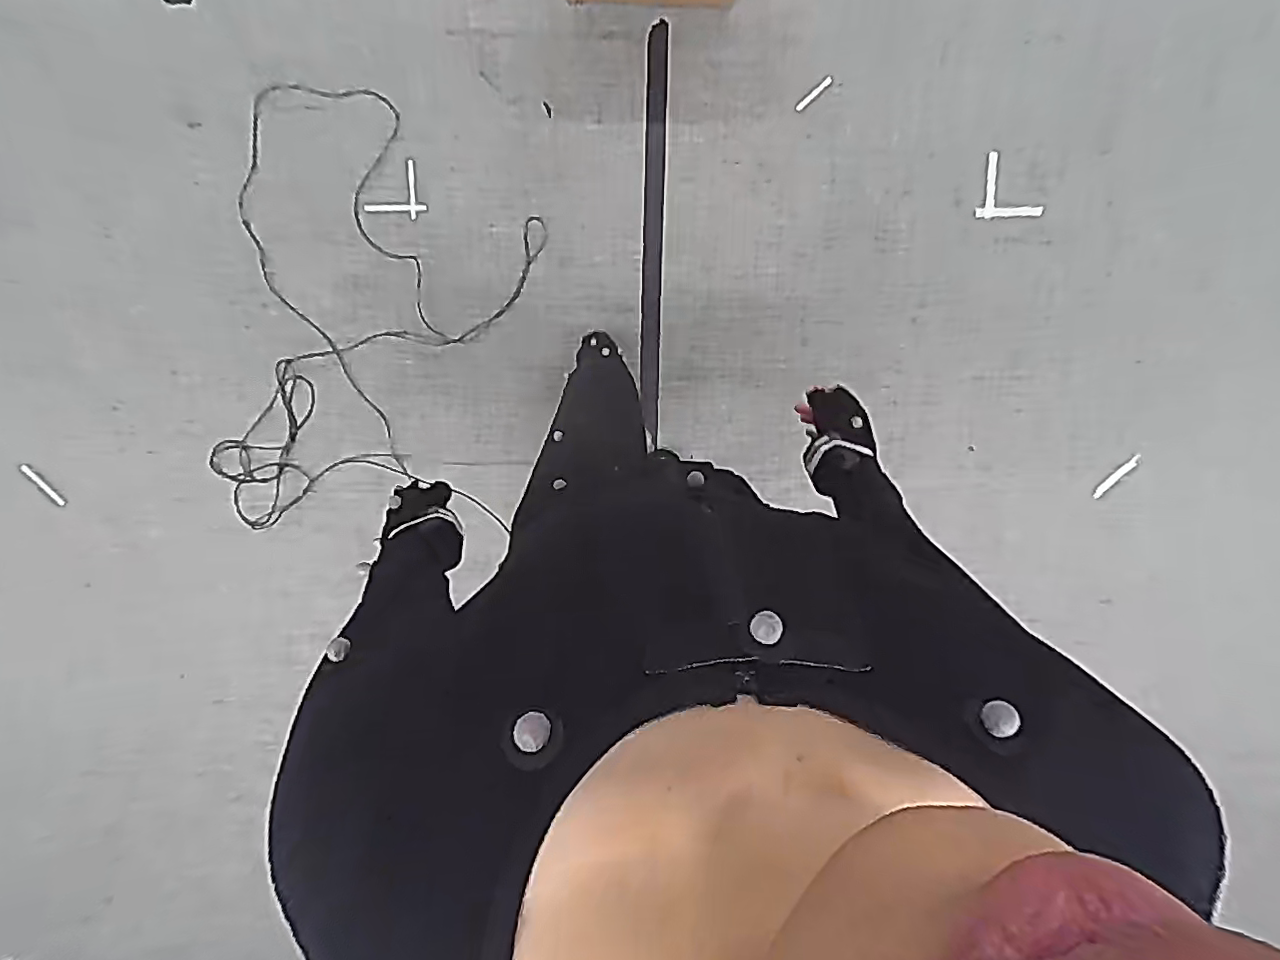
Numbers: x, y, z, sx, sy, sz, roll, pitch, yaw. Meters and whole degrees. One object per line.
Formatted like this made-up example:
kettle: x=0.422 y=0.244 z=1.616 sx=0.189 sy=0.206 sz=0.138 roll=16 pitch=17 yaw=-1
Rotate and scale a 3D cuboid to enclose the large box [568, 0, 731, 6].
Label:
large box: x=0.026 y=-1.265 z=1.128 sx=0.408 sy=0.320 sz=0.320 roll=1 pitch=99 yaw=-1
